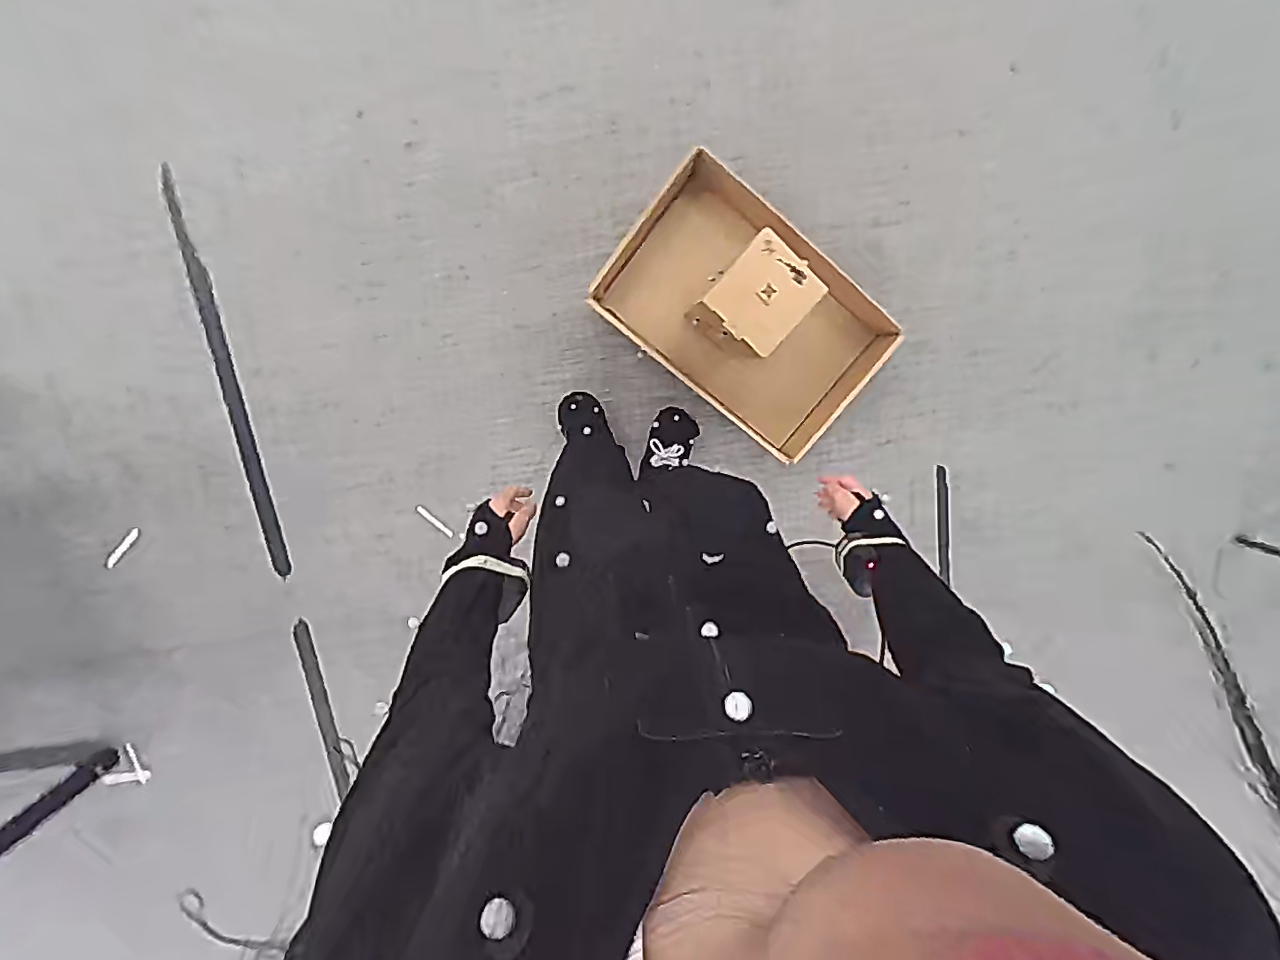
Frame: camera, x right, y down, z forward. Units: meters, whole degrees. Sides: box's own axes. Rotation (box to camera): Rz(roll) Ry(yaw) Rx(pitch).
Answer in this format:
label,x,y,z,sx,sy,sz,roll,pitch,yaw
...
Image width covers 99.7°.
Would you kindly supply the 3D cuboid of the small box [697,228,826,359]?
label,x,y,z,sx,sy,sz,roll,pitch,yaw
small box,0.230,-0.362,1.081,0.168,0.176,0.179,42,99,-10
